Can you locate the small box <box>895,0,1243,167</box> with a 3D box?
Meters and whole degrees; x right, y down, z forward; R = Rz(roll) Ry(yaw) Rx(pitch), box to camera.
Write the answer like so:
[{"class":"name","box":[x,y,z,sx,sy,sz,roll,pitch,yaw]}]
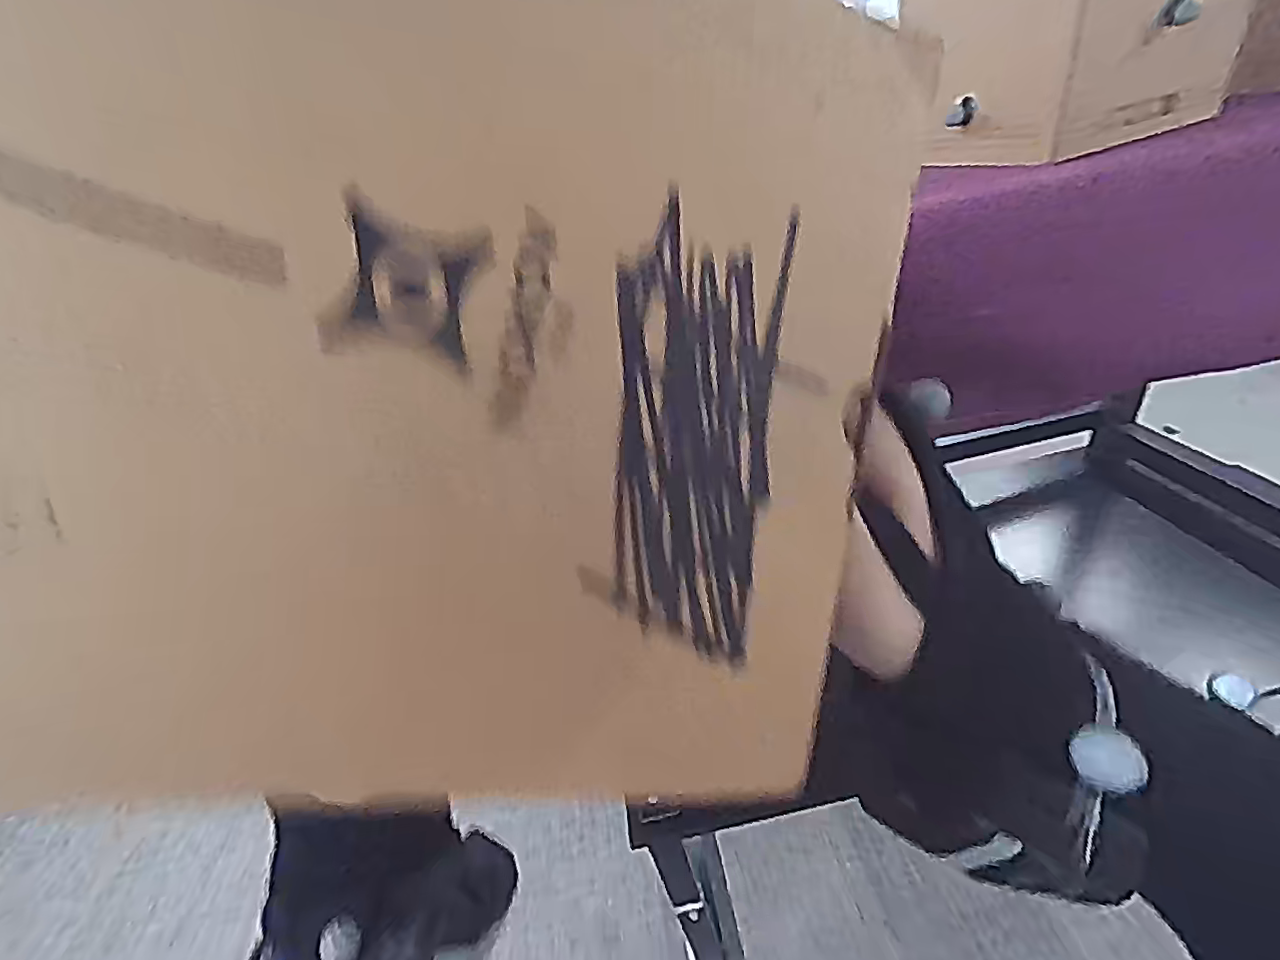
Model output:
[{"class":"small box","box":[0.335,-0.365,0.437,0.168,0.176,0.179,-20,33,-9]}]
